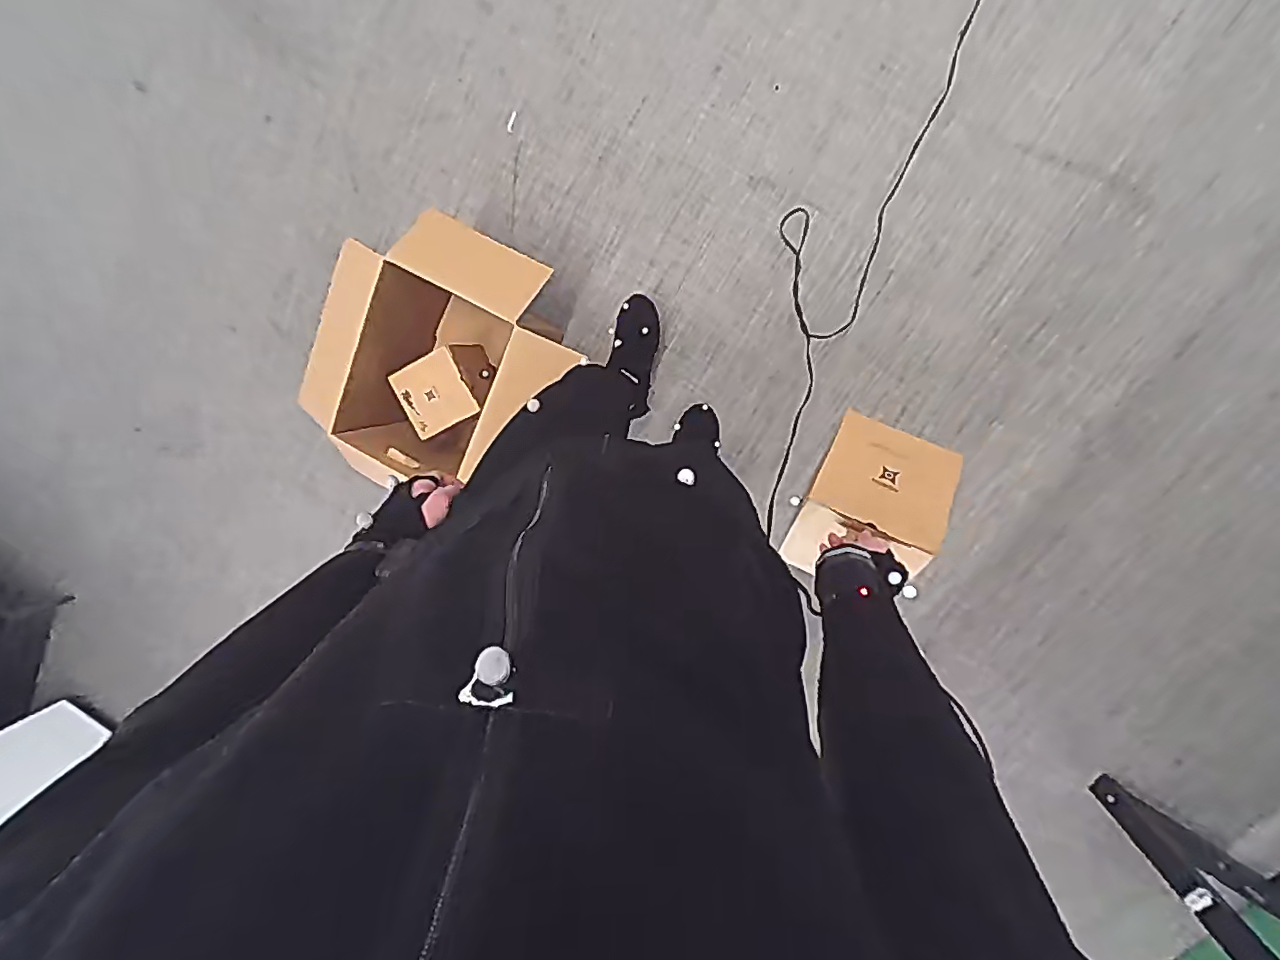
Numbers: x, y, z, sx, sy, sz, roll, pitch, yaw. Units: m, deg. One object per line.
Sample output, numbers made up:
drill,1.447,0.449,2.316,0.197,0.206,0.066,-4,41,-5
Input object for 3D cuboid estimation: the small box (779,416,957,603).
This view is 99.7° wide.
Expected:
small box,0.317,0.047,0.779,0.168,0.179,0.176,26,147,12
